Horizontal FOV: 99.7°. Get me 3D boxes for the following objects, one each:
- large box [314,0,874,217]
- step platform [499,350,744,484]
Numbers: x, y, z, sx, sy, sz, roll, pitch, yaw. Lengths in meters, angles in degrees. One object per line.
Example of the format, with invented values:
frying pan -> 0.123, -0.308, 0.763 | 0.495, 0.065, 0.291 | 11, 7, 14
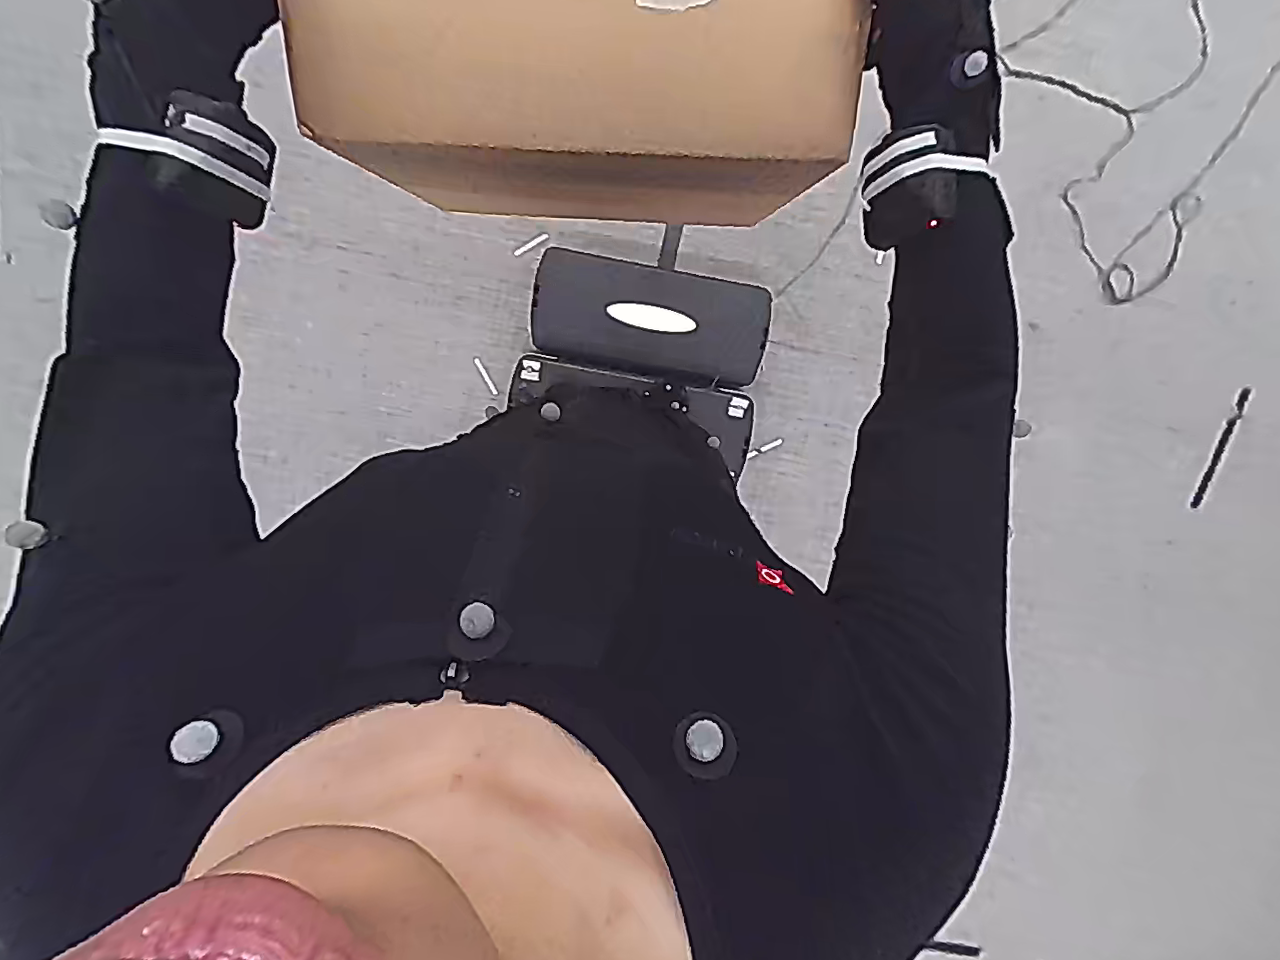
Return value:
large box -> -0.034, -0.443, 0.506 | 0.408, 0.320, 0.320 | 1, 108, -2
step platform -> -0.050, -0.179, 1.550 | 0.684, 0.204, 0.286 | 9, 101, -2
